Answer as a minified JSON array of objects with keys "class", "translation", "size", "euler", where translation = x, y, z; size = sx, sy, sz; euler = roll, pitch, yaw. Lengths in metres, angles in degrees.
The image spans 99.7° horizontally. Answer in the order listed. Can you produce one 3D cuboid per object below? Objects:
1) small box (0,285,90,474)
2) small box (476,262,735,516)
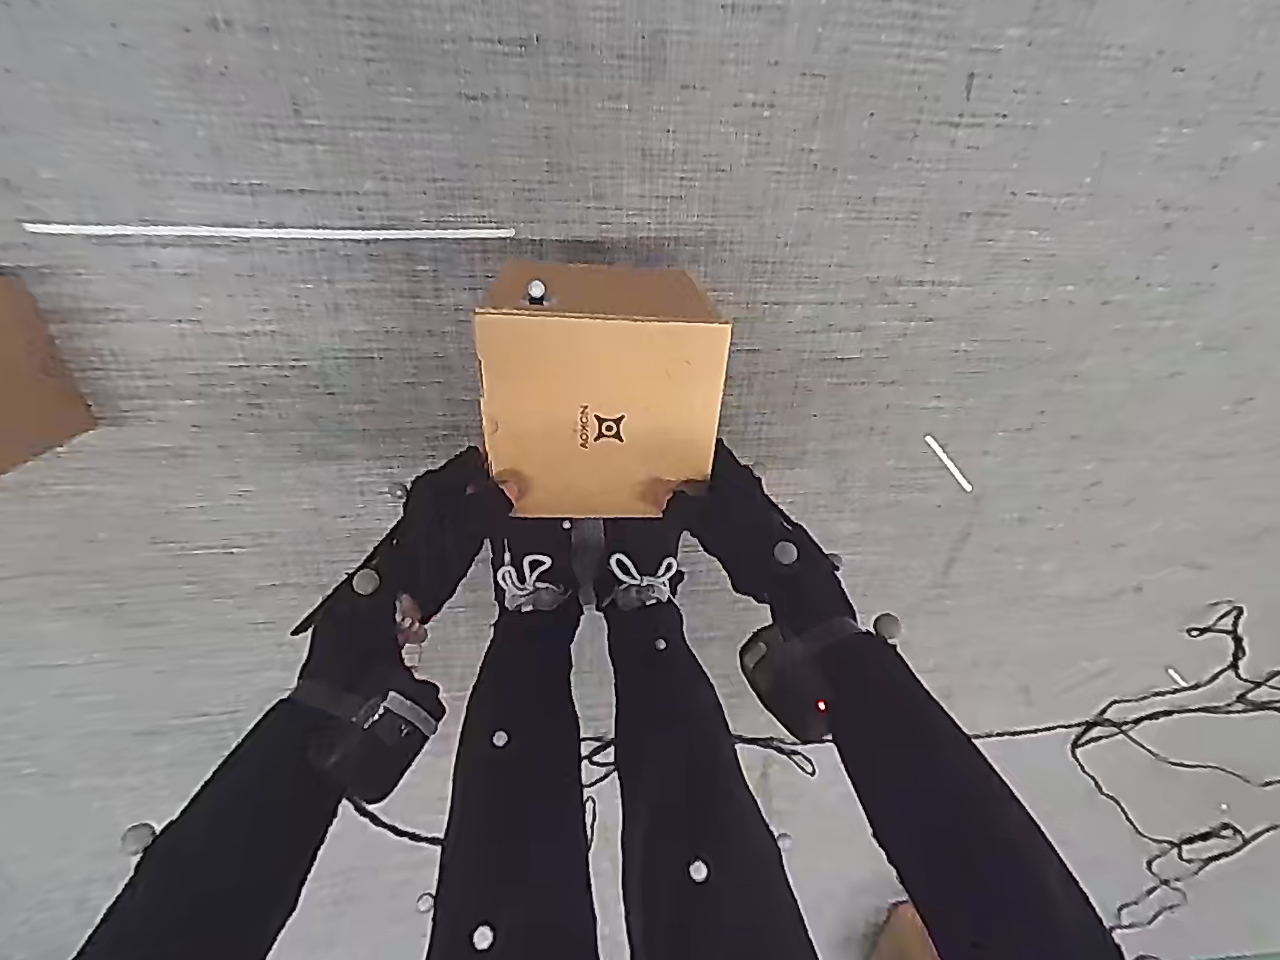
[{"class":"small box","translation":[-0.717,-0.098,0.524],"size":[0.168,0.176,0.179],"euler":[-3,119,-5]},{"class":"small box","translation":[-0.032,-0.084,0.467],"size":[0.179,0.176,0.168],"euler":[1,123,-5]}]
